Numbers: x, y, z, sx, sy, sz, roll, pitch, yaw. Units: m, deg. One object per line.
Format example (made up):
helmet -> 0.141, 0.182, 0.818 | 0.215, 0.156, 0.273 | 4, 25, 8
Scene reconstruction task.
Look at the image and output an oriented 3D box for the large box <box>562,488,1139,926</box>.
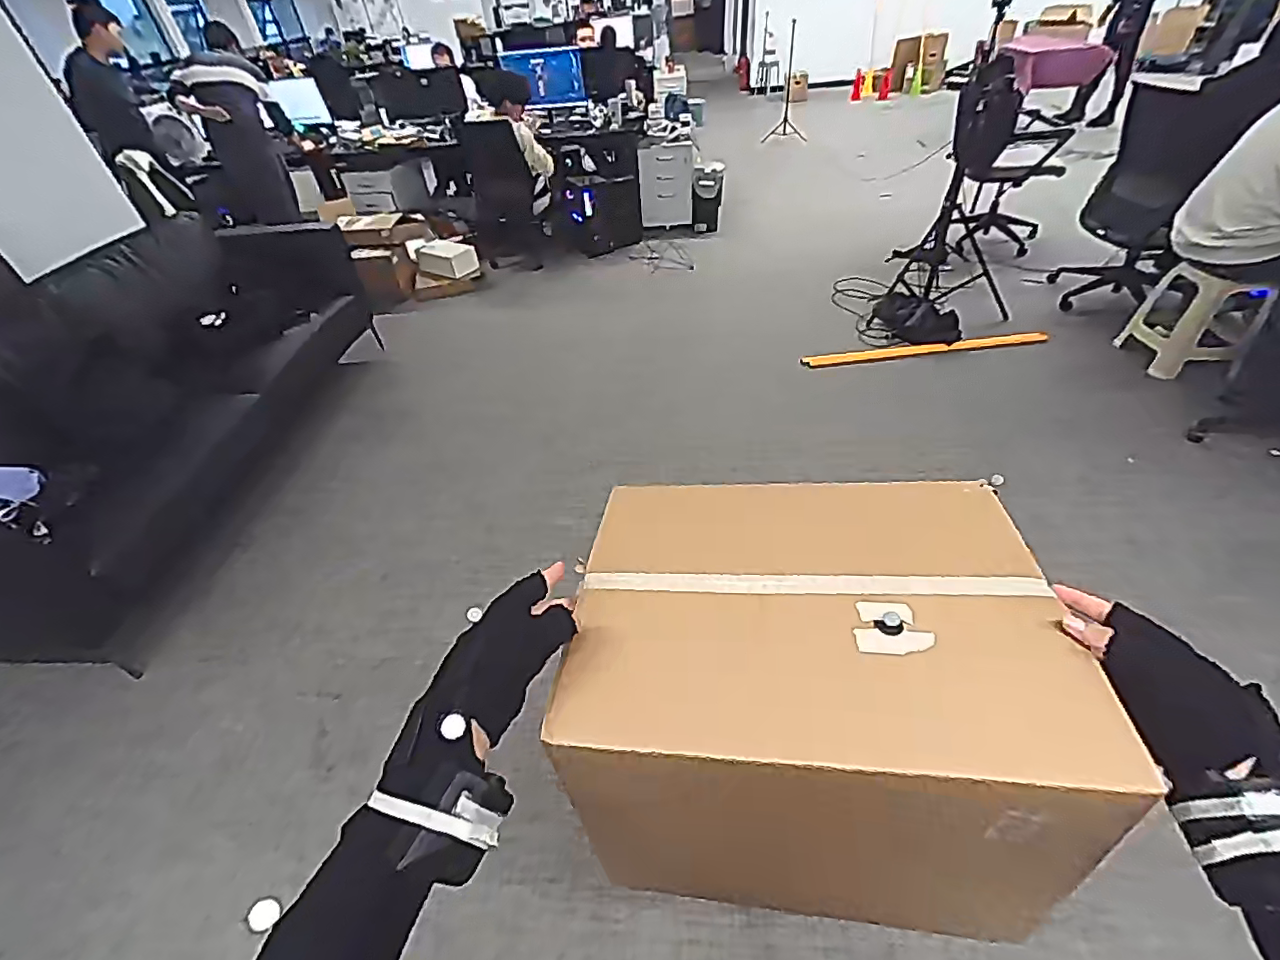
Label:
large box -> 0.171, 0.224, 0.588 | 0.408, 0.320, 0.320 | -1, 37, 12
